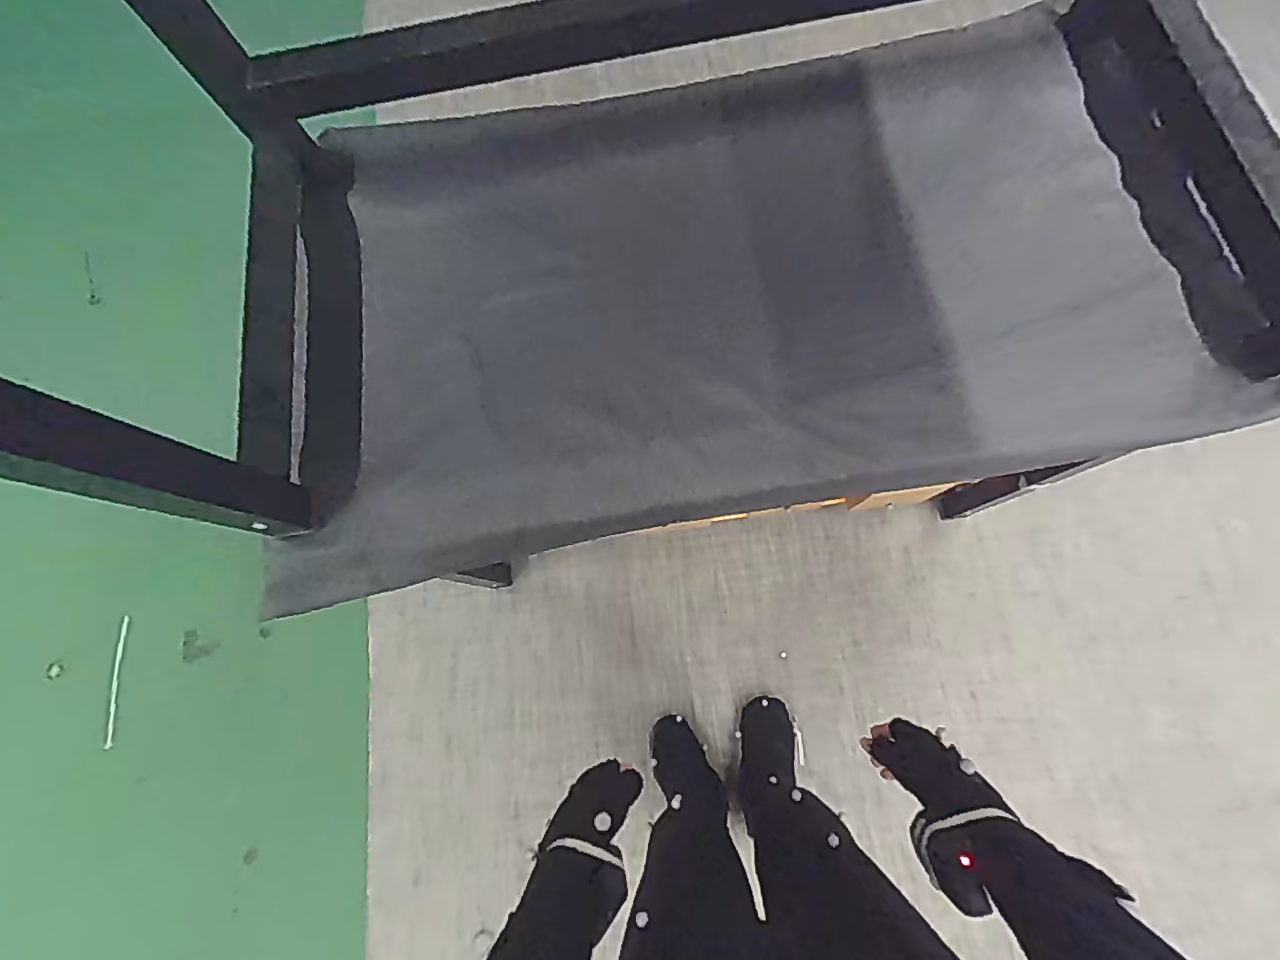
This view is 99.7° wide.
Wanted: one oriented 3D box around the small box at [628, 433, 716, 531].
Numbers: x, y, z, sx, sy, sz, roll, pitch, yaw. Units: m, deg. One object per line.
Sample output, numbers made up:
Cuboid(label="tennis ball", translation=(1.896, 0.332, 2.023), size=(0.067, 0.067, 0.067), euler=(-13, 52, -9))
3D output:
Cuboid(label="small box", translation=(0.070, 0.012, 1.185), size=(0.168, 0.176, 0.179), euler=(-7, 76, 2))

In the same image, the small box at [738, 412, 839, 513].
Cuboid(label="small box", translation=(0.313, -0.029, 1.175), size=(0.168, 0.176, 0.179), euler=(-9, 75, 2))
